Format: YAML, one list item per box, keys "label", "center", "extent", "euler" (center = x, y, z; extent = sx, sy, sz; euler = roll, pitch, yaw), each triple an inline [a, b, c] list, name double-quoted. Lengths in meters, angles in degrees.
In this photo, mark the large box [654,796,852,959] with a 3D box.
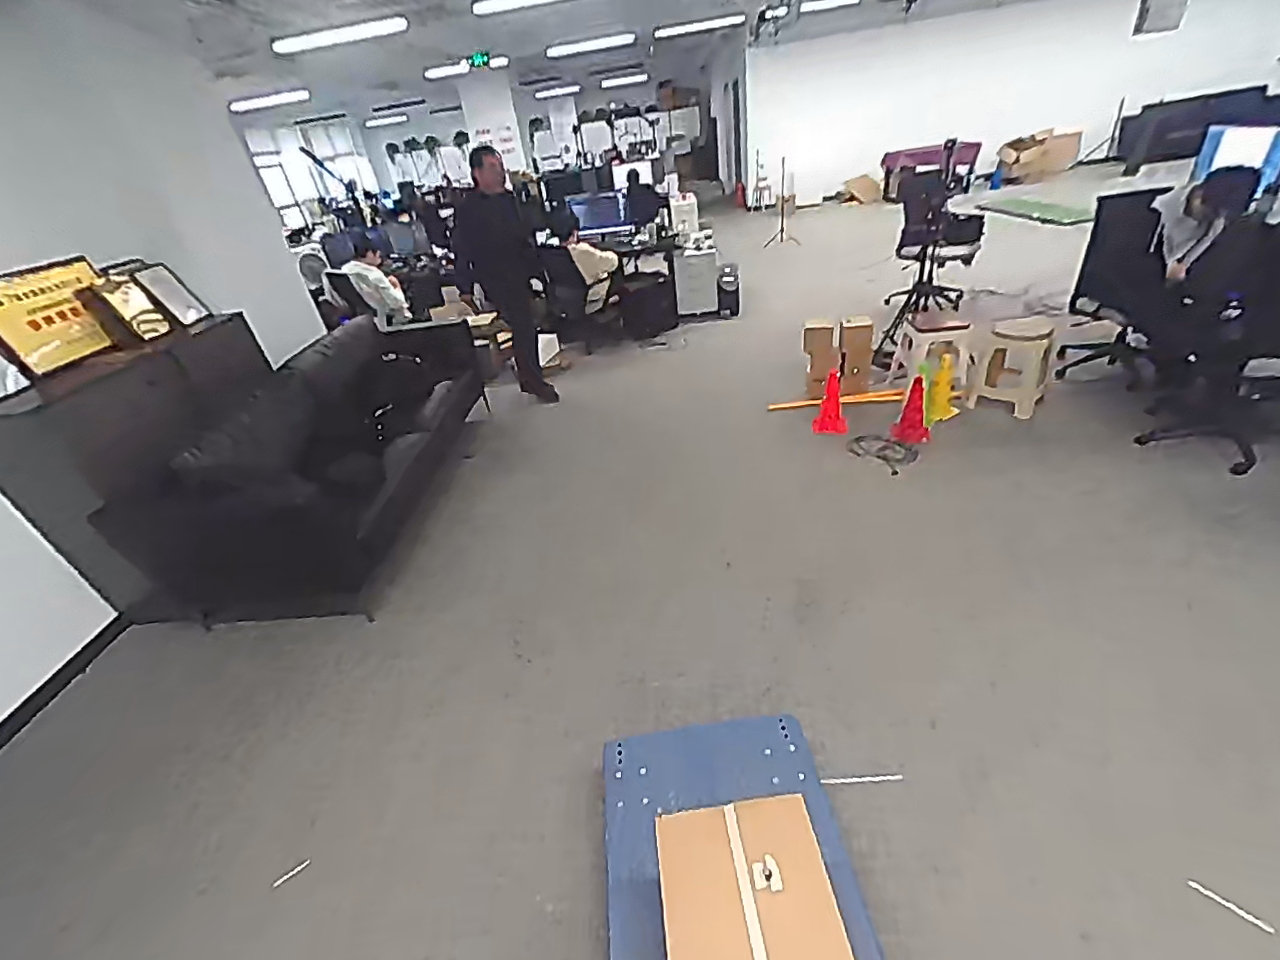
- label: "large box"
  center: [0.221, 0.920, 1.050]
  extent: [0.320, 0.320, 0.408]
  euler: [-9, 32, 0]
